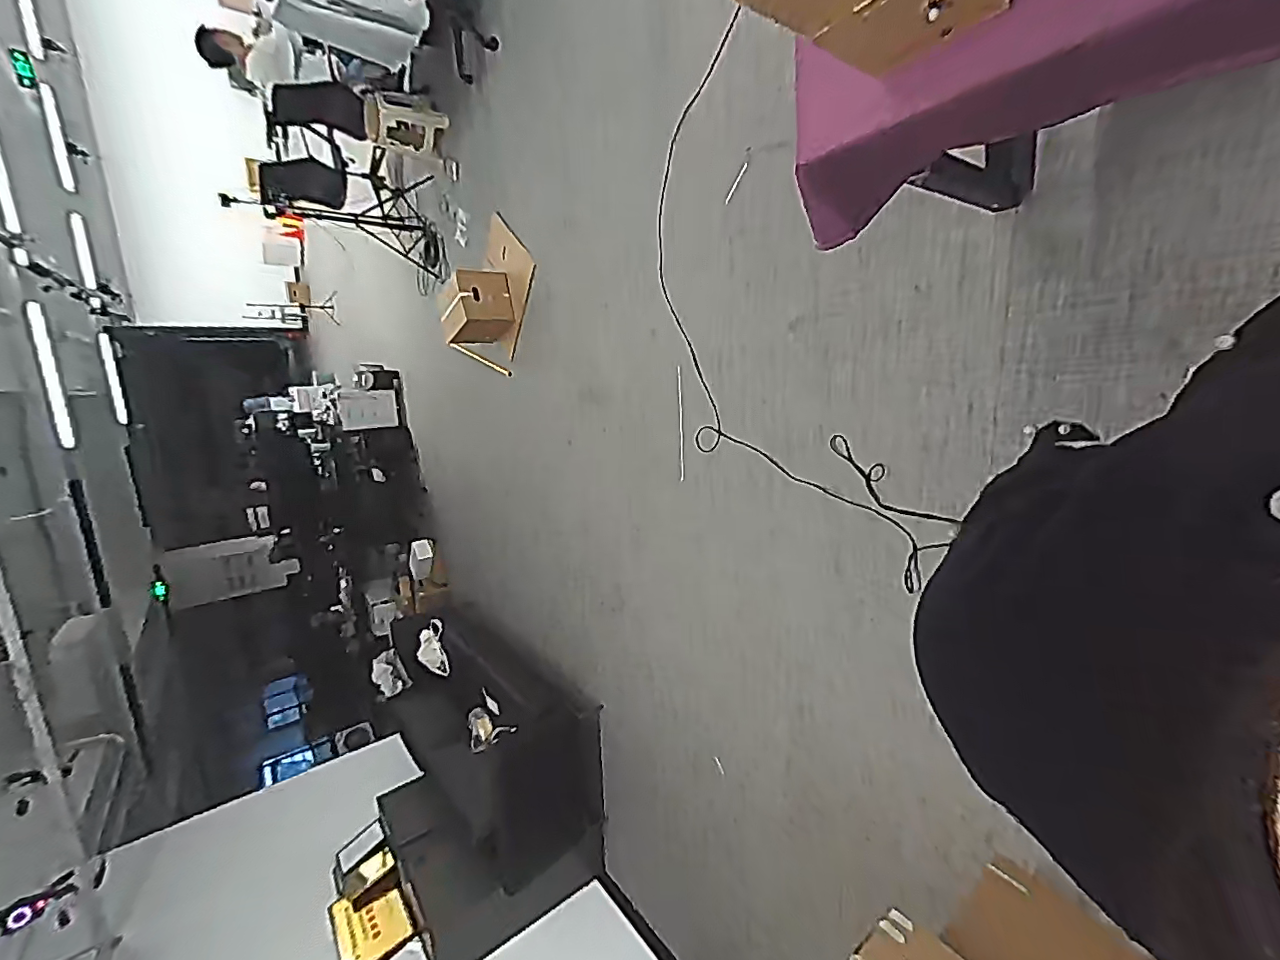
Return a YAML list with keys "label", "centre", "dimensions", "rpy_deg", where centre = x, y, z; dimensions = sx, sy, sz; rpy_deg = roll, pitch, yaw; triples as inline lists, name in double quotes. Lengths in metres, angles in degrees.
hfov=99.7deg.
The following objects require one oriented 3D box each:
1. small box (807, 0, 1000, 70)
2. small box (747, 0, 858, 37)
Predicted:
- label: "small box"
  centre: [0.315, -0.633, 0.645]
  dimensions: [0.168, 0.176, 0.179]
  rpy_deg: [6, 103, 51]
- label: "small box"
  centre: [0.185, -0.609, 0.551]
  dimensions: [0.179, 0.176, 0.168]
  rpy_deg: [3, 101, 51]
